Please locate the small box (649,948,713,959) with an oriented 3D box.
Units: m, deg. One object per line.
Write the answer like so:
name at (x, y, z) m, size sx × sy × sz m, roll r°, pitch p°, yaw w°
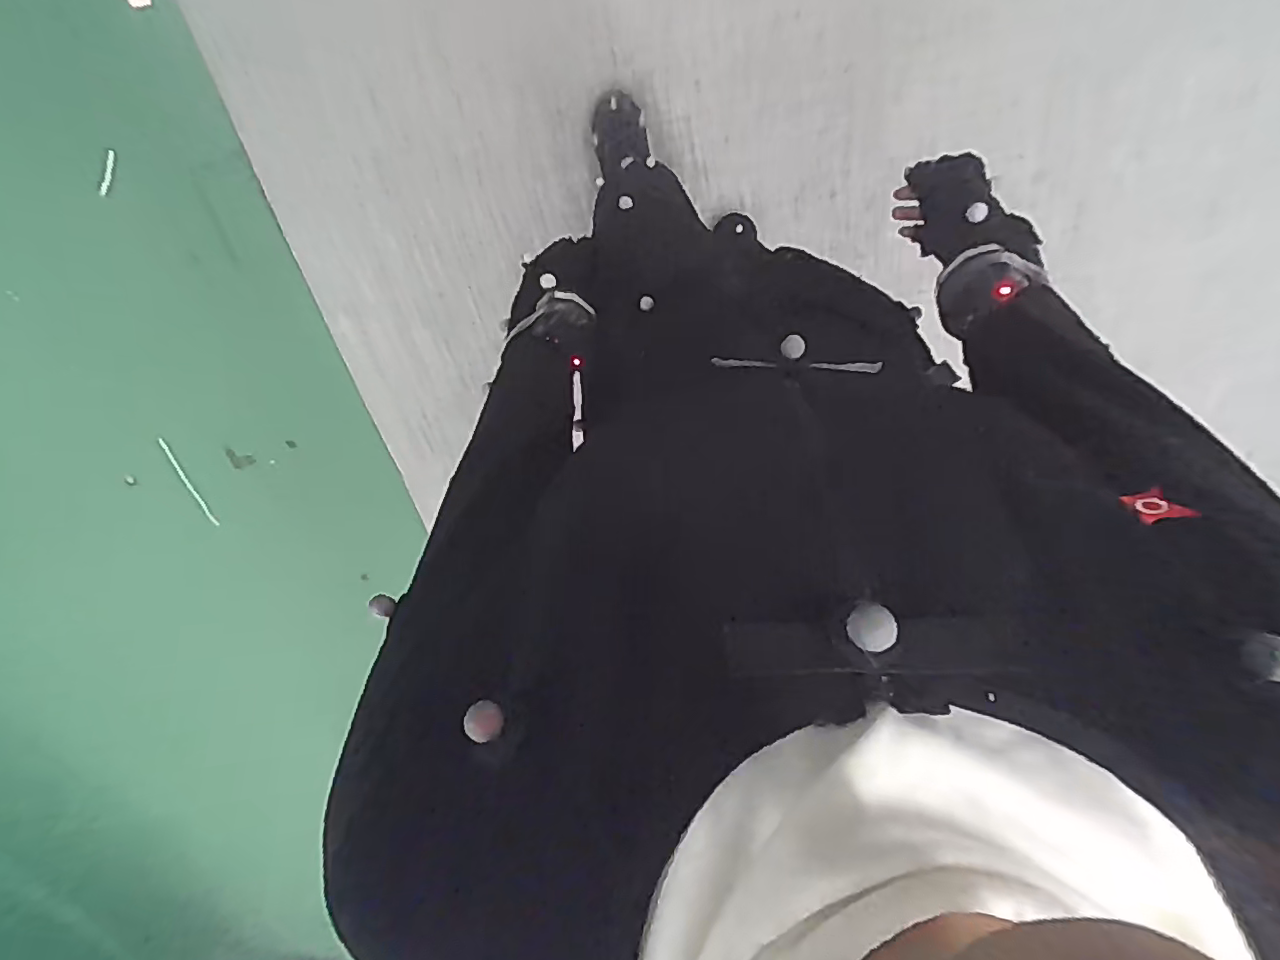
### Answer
small box at (0.117, 1.376, 1.433) m, size 0.179 × 0.176 × 0.168 m, roll -8°, pitch 119°, yaw 9°
